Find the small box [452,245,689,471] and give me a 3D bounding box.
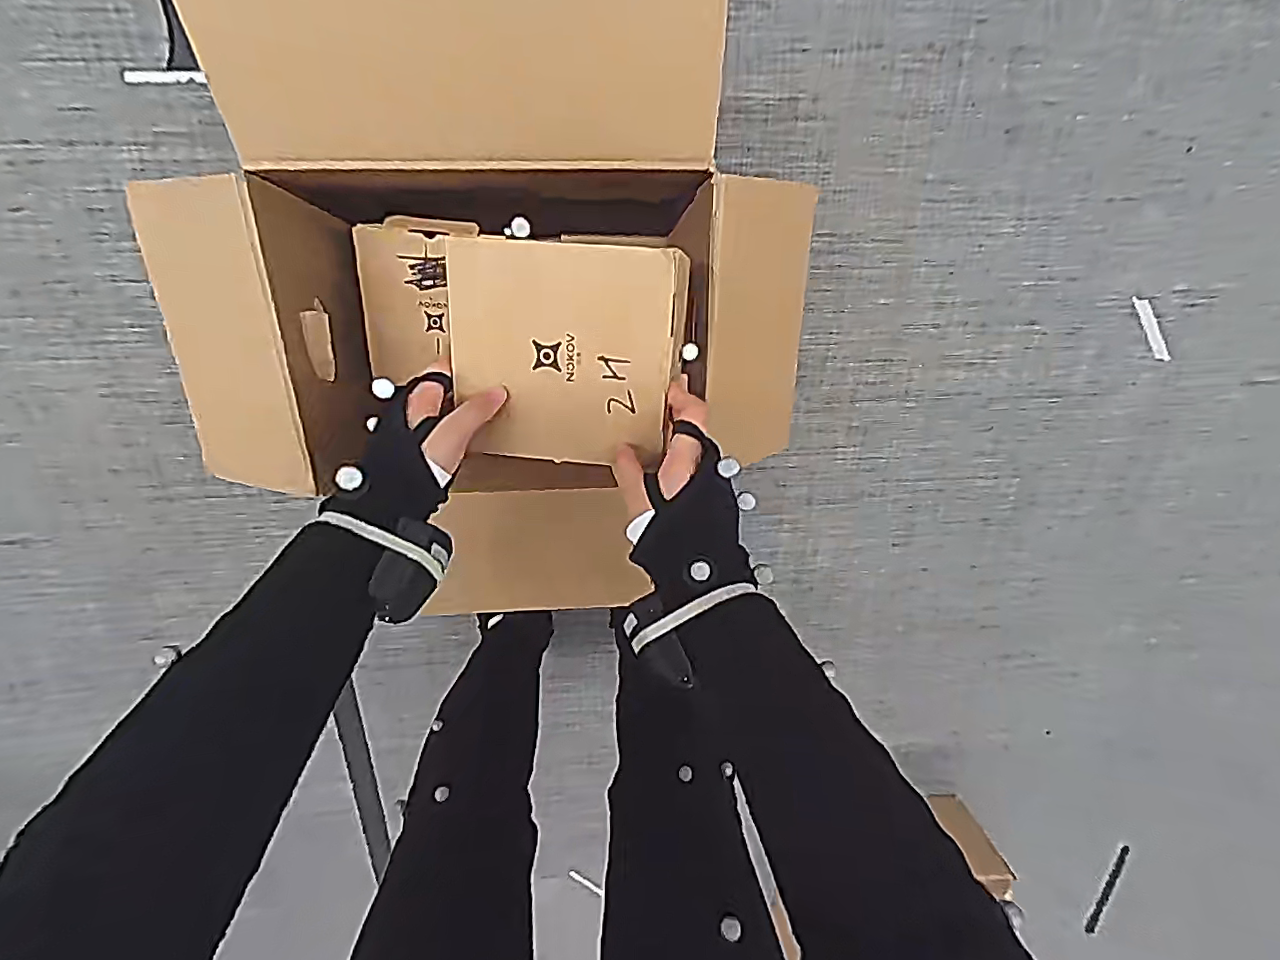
[{"bbox_3d":[-0.053,-0.118,0.503,0.179,0.176,0.168,6,110,6],"label":"small box"}]
